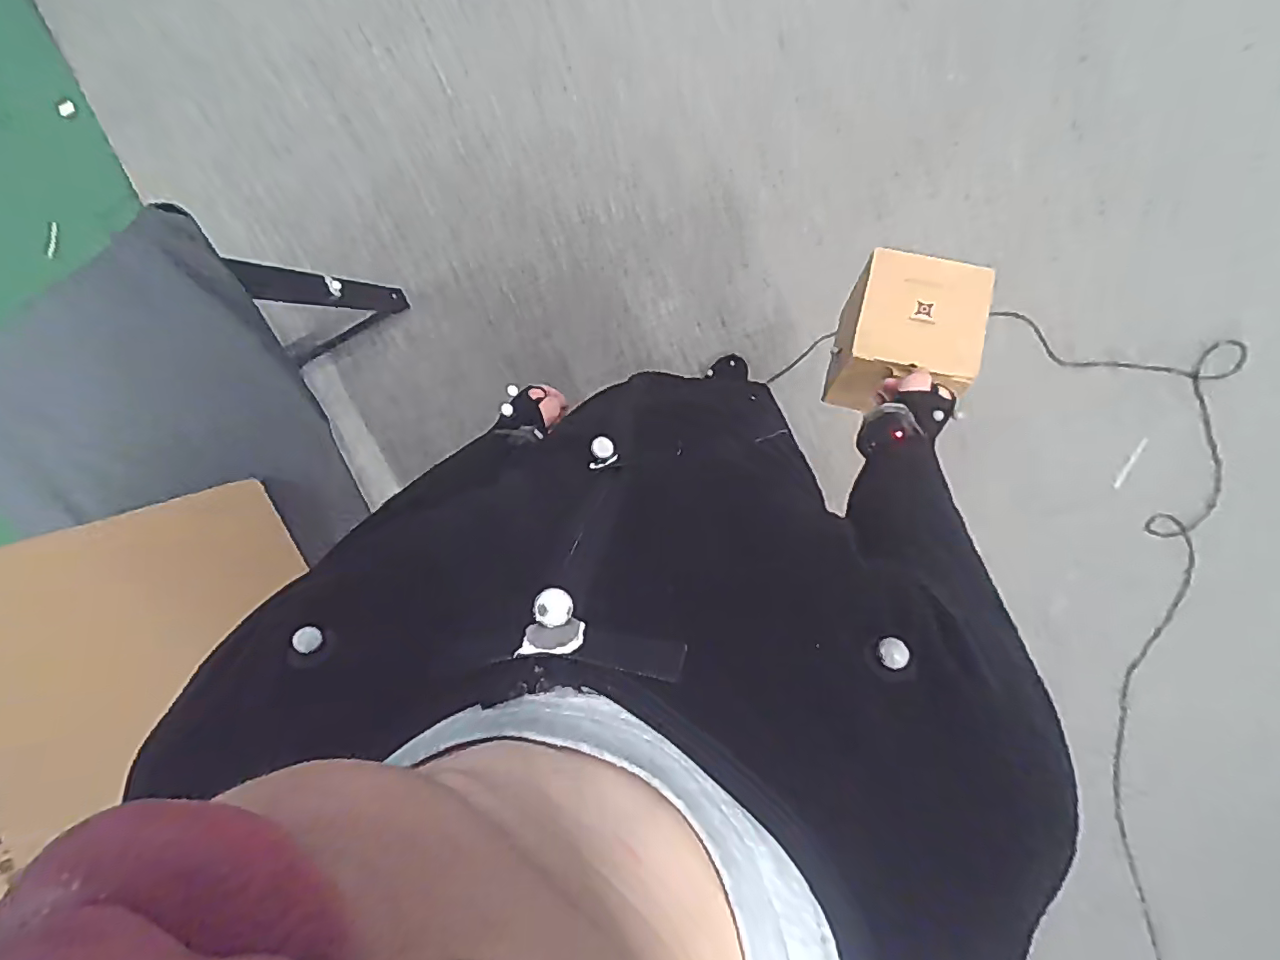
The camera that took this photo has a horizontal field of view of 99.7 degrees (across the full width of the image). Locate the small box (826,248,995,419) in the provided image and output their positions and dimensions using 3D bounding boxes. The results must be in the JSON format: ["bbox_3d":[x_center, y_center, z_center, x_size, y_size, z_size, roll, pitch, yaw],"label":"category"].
[{"bbox_3d":[0.391,-0.208,0.811,0.168,0.176,0.179,14,78,7],"label":"small box"}]
